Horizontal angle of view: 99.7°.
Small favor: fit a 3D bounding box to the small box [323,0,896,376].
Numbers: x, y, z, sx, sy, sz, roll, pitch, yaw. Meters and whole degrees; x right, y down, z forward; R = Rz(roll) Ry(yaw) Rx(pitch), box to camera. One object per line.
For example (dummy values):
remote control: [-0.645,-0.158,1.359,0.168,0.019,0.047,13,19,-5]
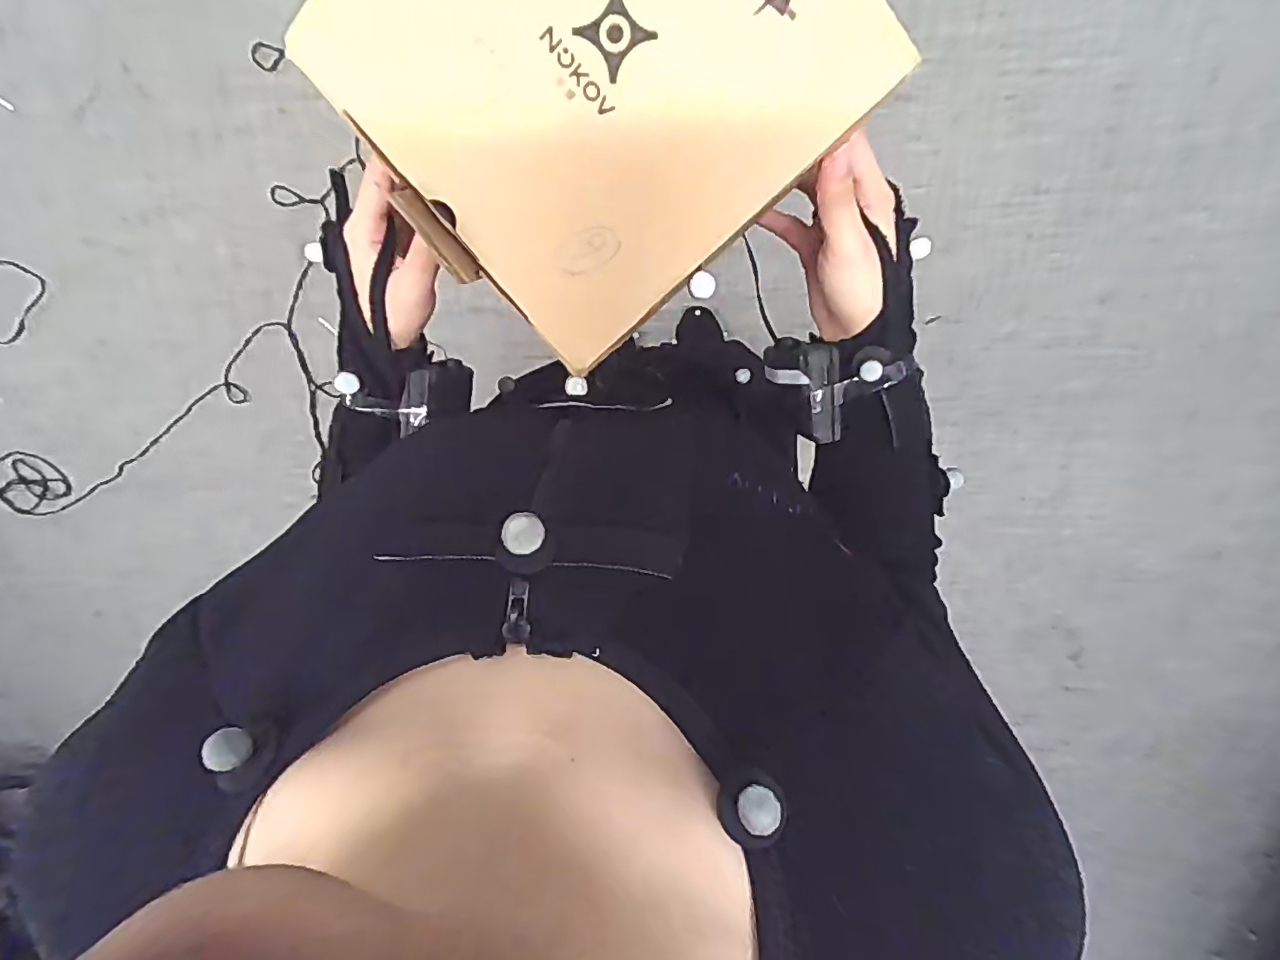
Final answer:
small box: [-0.010,-0.180,0.292,0.179,0.176,0.168,-40,102,13]
